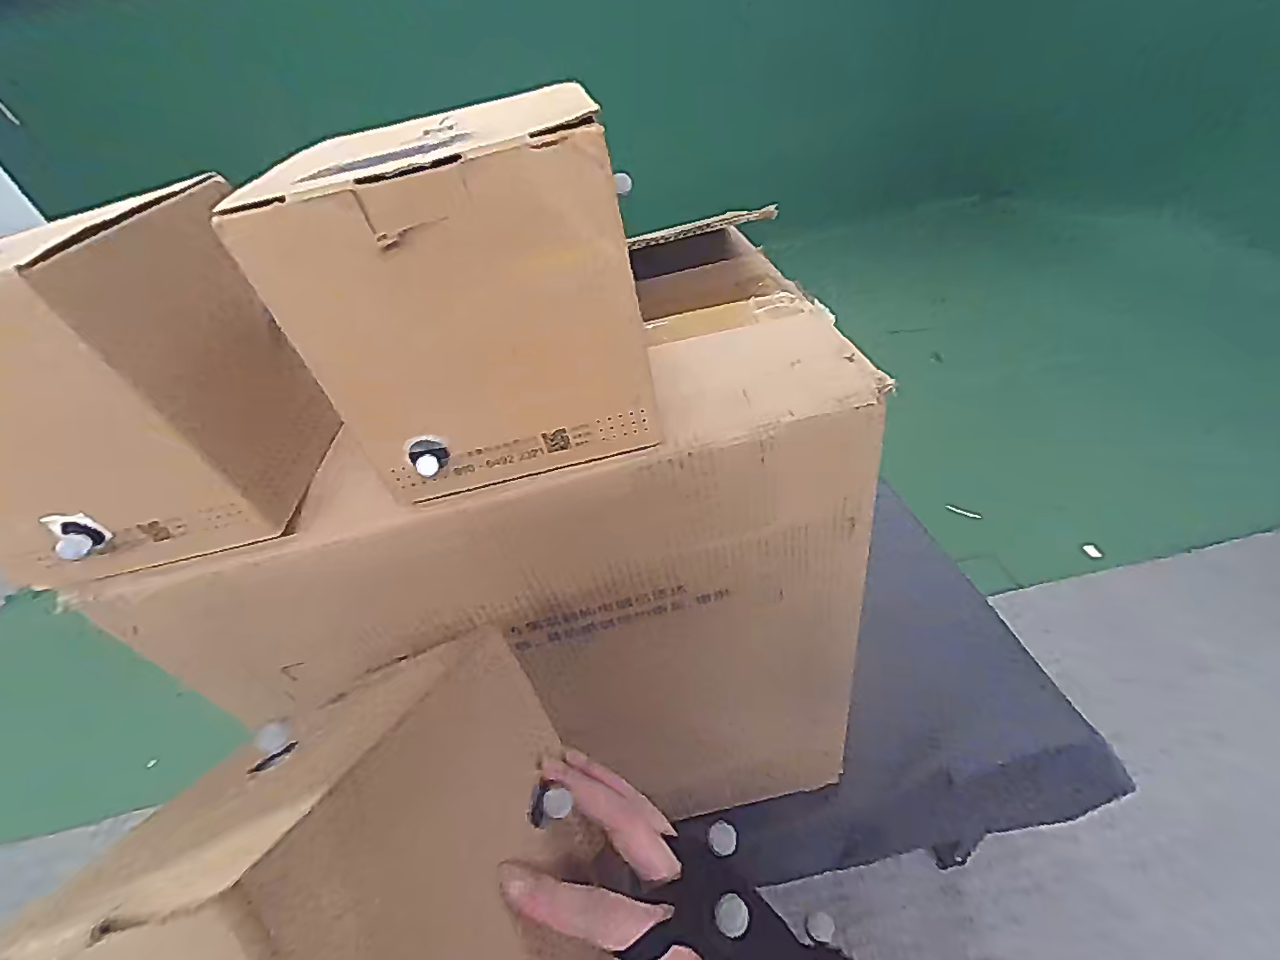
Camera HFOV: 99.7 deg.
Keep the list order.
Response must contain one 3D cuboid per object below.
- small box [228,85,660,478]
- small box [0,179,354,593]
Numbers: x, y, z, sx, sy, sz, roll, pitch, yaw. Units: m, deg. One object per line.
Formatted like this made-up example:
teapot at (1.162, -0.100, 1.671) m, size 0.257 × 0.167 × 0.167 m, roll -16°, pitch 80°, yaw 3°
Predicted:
small box at (-0.090, -0.119, 0.337) m, size 0.168 × 0.176 × 0.179 m, roll -14°, pitch 40°, yaw -1°
small box at (-0.314, -0.060, 0.341) m, size 0.168 × 0.176 × 0.179 m, roll -16°, pitch 42°, yaw 3°
